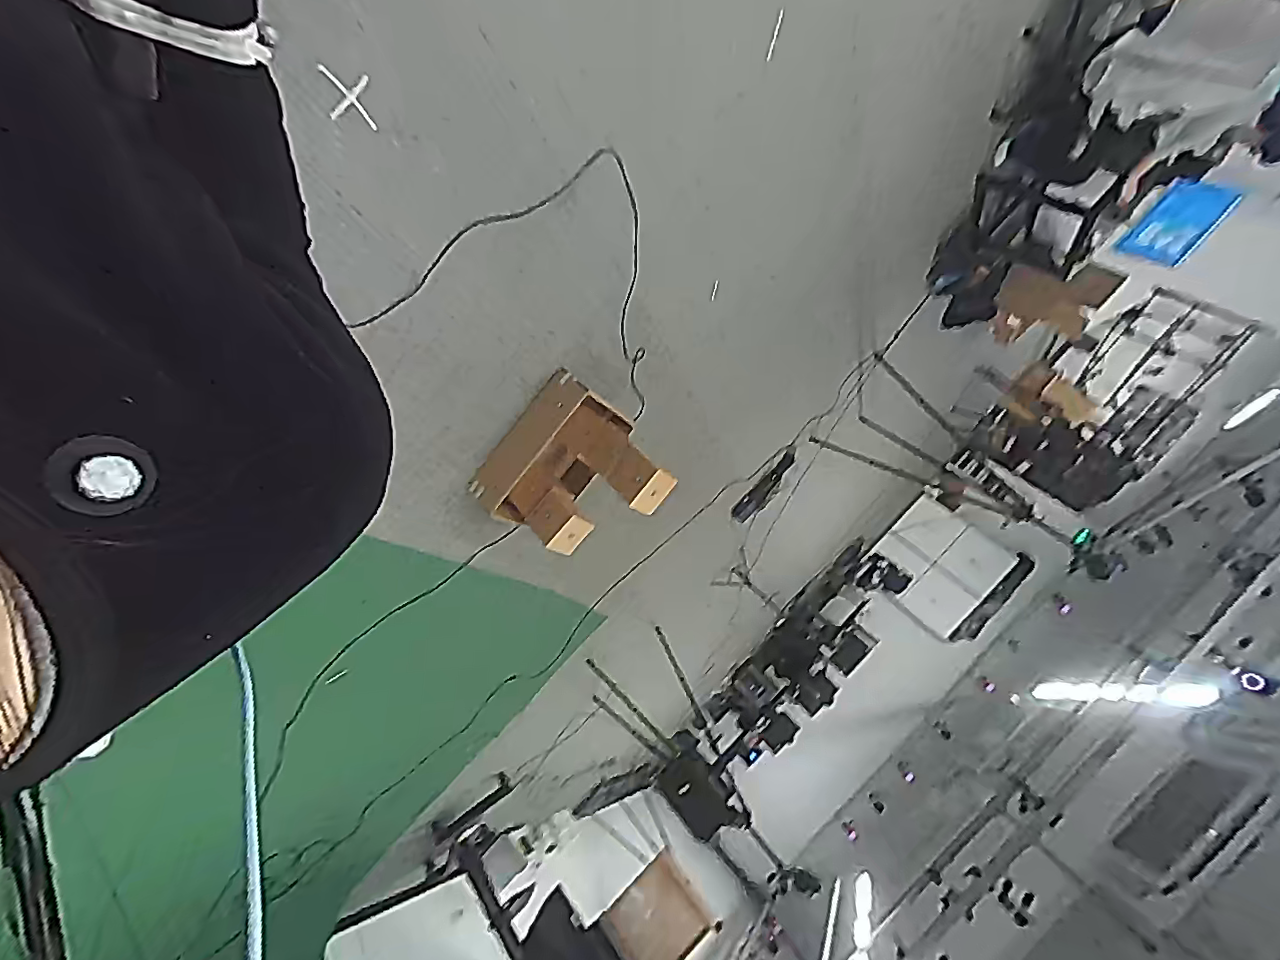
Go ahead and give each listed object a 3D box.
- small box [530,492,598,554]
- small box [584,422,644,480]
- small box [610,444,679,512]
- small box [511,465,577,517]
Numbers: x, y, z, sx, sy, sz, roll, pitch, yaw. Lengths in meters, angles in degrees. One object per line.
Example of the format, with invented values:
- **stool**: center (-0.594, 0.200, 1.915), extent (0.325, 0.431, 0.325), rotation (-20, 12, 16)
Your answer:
- **small box**: center (-0.311, 0.170, 2.175), extent (0.168, 0.176, 0.179), rotation (-49, 150, 3)
- **small box**: center (-0.091, -0.101, 2.149), extent (0.179, 0.176, 0.168), rotation (-49, 148, 3)
- **small box**: center (0.011, -0.007, 2.064), extent (0.179, 0.176, 0.168), rotation (-53, 147, 7)
- **small box**: center (-0.405, 0.064, 2.261), extent (0.179, 0.176, 0.168), rotation (-50, 149, 2)
